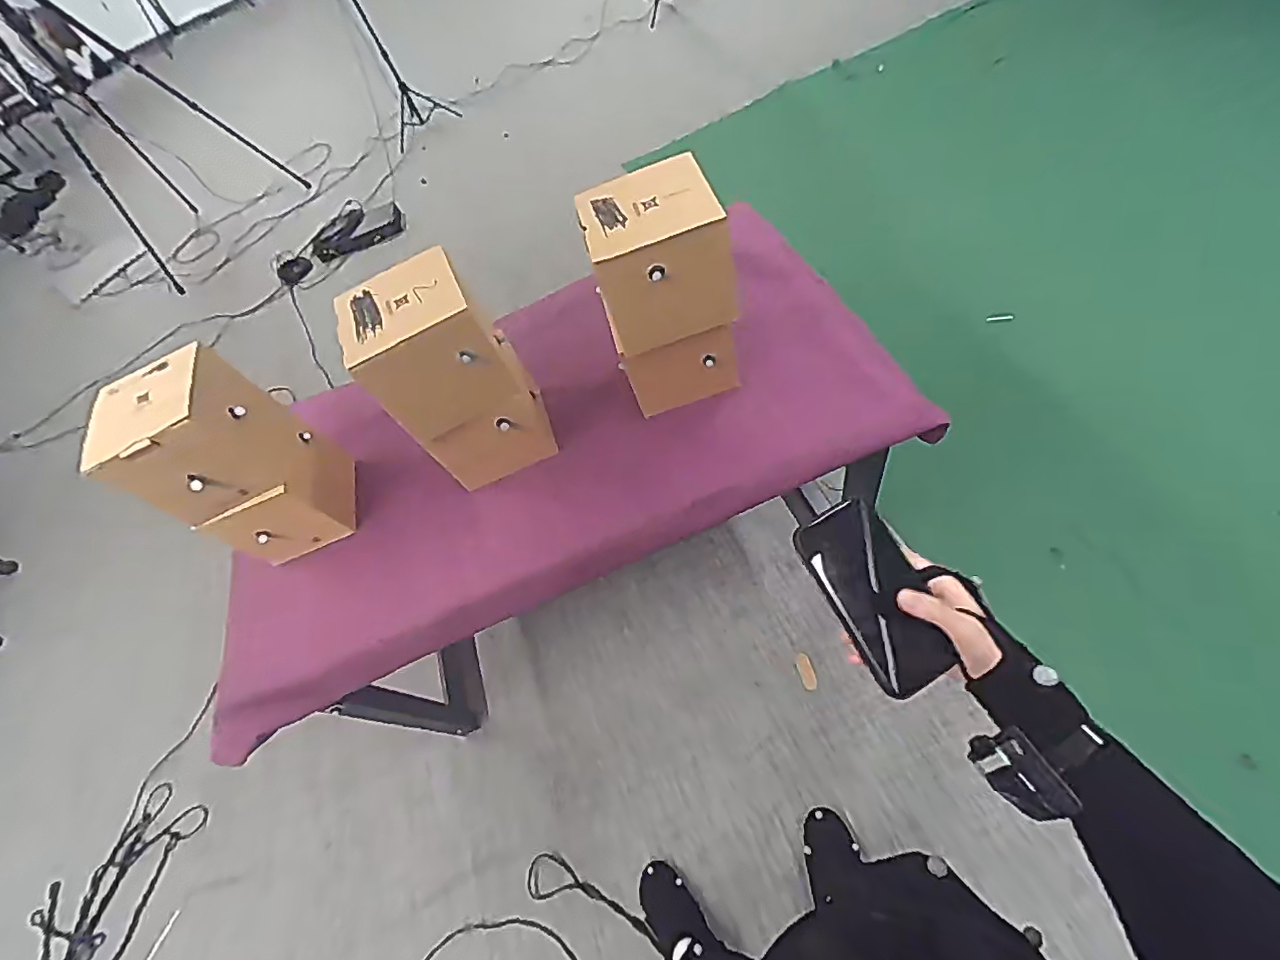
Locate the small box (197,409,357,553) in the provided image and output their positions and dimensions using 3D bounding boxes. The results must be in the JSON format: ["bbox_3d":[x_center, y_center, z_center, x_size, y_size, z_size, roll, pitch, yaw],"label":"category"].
[{"bbox_3d":[-0.629,0.012,0.961,0.168,0.176,0.179,-23,57,3],"label":"small box"}]

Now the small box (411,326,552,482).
[{"bbox_3d":[-0.264,-0.125,0.932,0.179,0.176,0.168,-23,57,2],"label":"small box"}]

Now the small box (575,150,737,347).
[{"bbox_3d":[0.026,-0.318,0.766,0.179,0.176,0.168,-18,57,5],"label":"small box"}]

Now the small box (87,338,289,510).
[{"bbox_3d":[-0.672,-0.075,0.828,0.168,0.176,0.179,-27,57,-1],"label":"small box"}]

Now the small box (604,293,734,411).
[{"bbox_3d":[0.054,-0.246,0.911,0.179,0.176,0.168,-18,57,7],"label":"small box"}]
